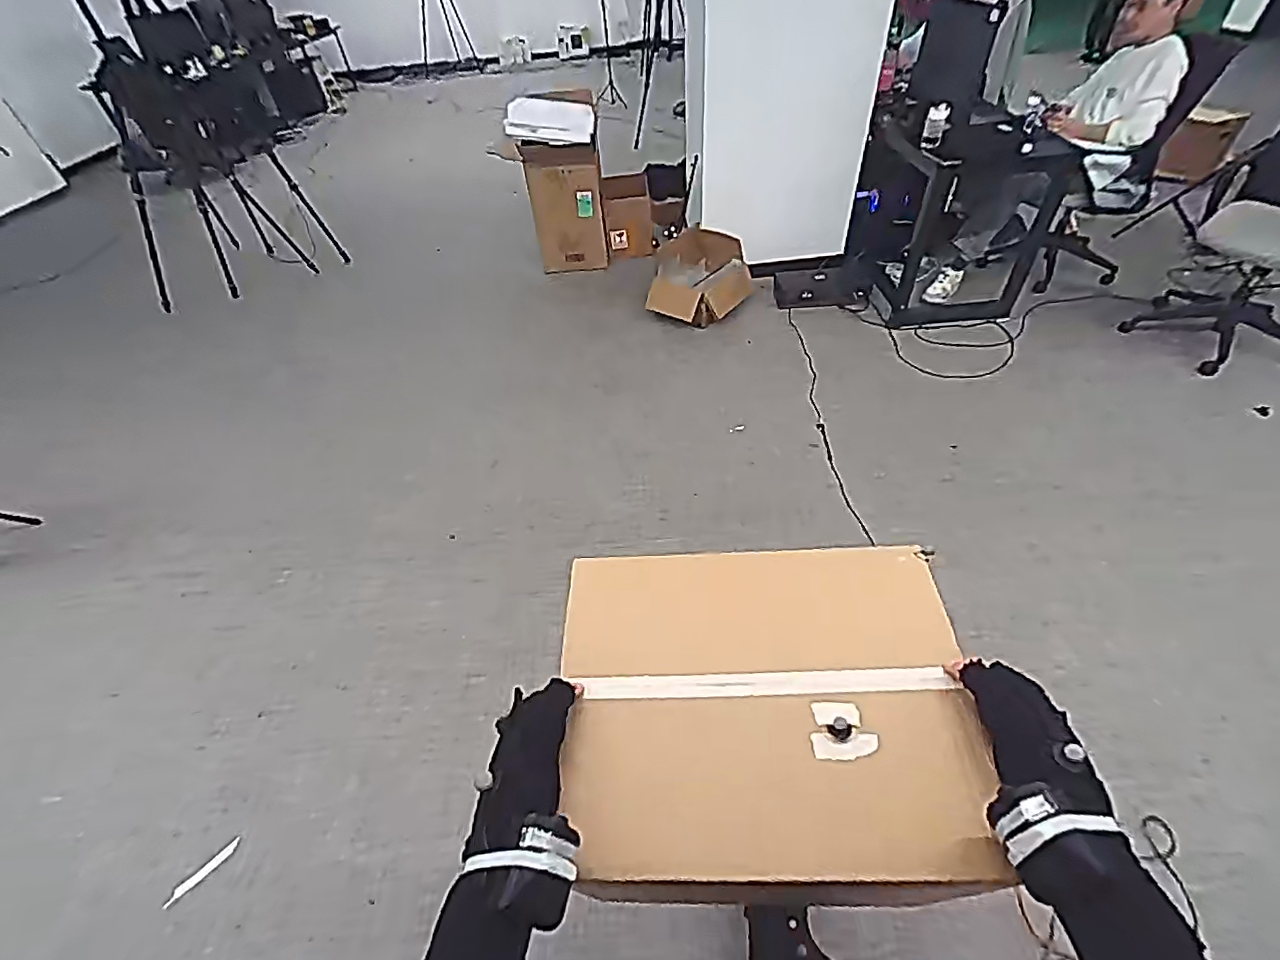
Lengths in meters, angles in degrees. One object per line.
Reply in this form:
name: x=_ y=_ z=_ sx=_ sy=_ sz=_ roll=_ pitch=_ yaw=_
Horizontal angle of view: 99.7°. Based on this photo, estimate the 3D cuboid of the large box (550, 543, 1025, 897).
large box: x=0.129 y=0.298 z=0.658 sx=0.408 sy=0.320 sz=0.320 roll=-3 pitch=49 yaw=4
